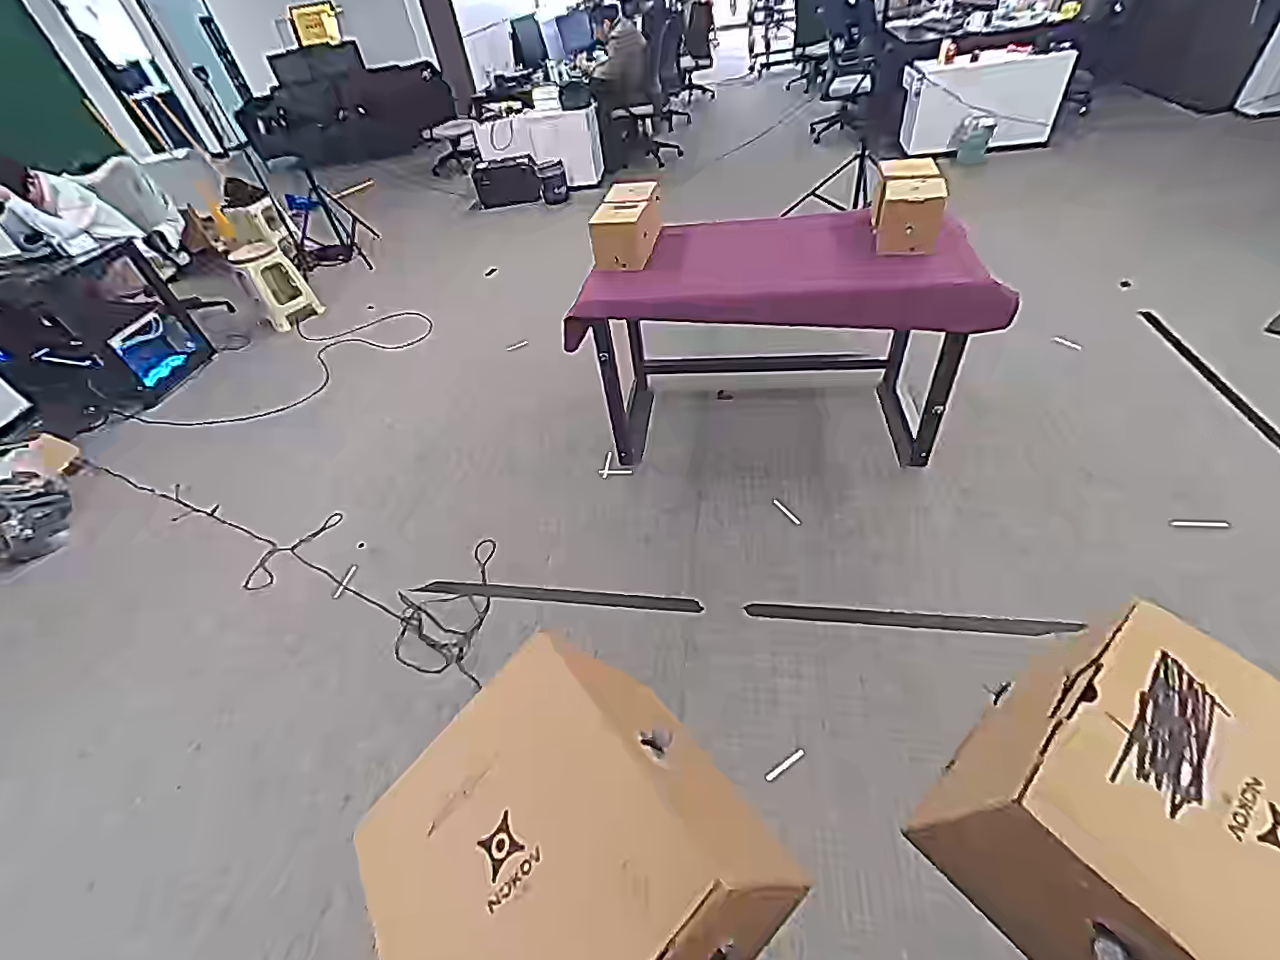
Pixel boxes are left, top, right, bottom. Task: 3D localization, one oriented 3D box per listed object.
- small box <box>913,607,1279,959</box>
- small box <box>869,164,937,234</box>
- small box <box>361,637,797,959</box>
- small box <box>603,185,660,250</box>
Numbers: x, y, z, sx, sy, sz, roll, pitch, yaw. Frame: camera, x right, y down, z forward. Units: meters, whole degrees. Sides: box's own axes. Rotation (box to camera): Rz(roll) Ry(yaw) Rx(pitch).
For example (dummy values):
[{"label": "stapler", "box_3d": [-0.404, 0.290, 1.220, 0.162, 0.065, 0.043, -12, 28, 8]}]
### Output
[{"label": "small box", "box_3d": [0.306, 0.219, 0.328, 0.168, 0.176, 0.179, -37, 60, -23]}, {"label": "small box", "box_3d": [0.878, -0.945, 1.819, 0.168, 0.176, 0.179, 4, 45, 13]}, {"label": "small box", "box_3d": [-0.030, 0.237, 0.338, 0.168, 0.176, 0.179, -46, 45, -8]}, {"label": "small box", "box_3d": [-0.024, -0.965, 1.992, 0.168, 0.176, 0.179, 4, 47, 14]}]
